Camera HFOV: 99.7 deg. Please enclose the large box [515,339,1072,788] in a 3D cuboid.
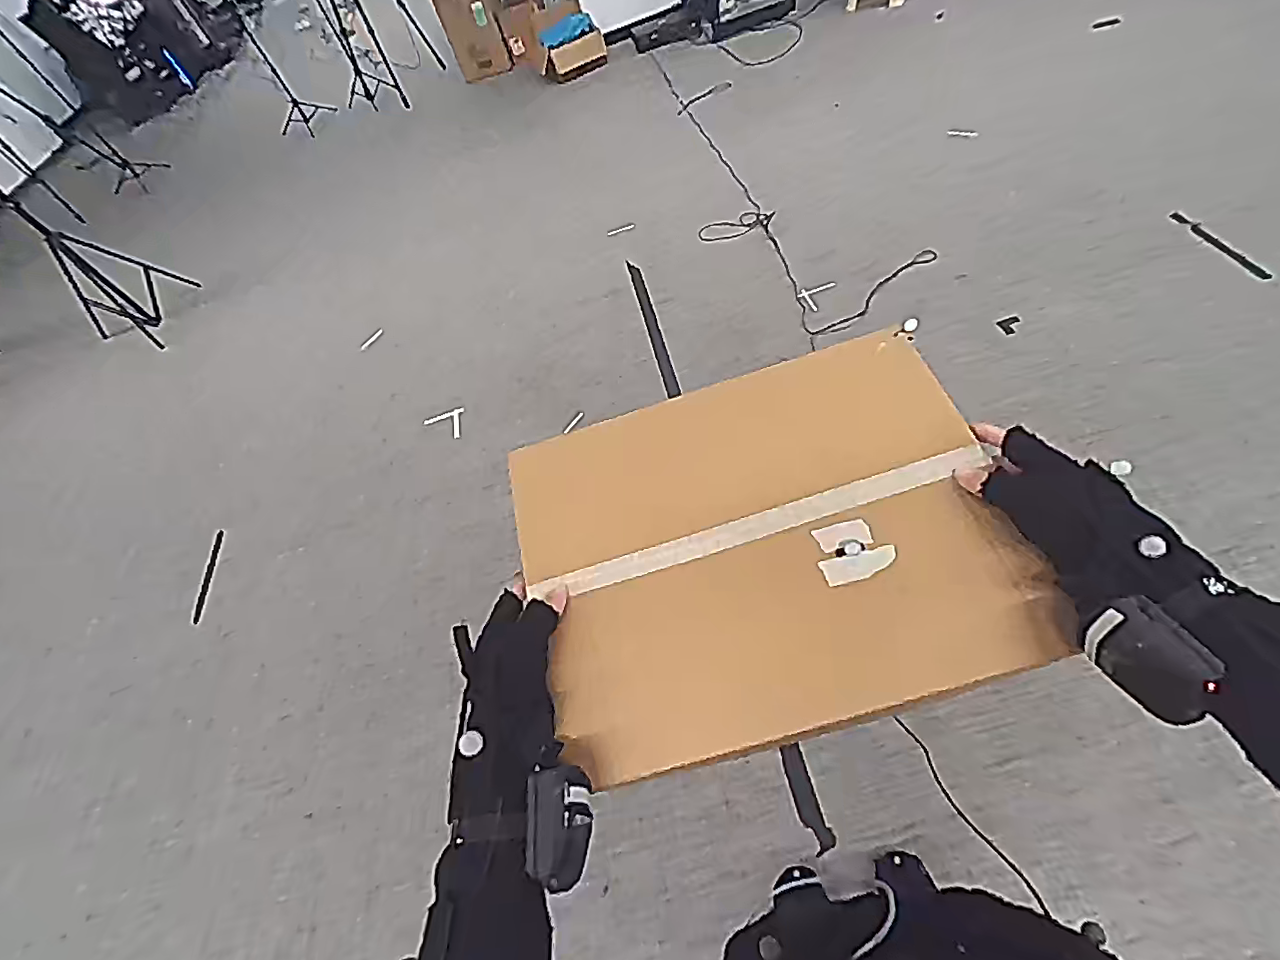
[{"bbox_3d":[0.122,0.115,0.606,0.408,0.320,0.320,-18,61,2],"label":"large box"}]
